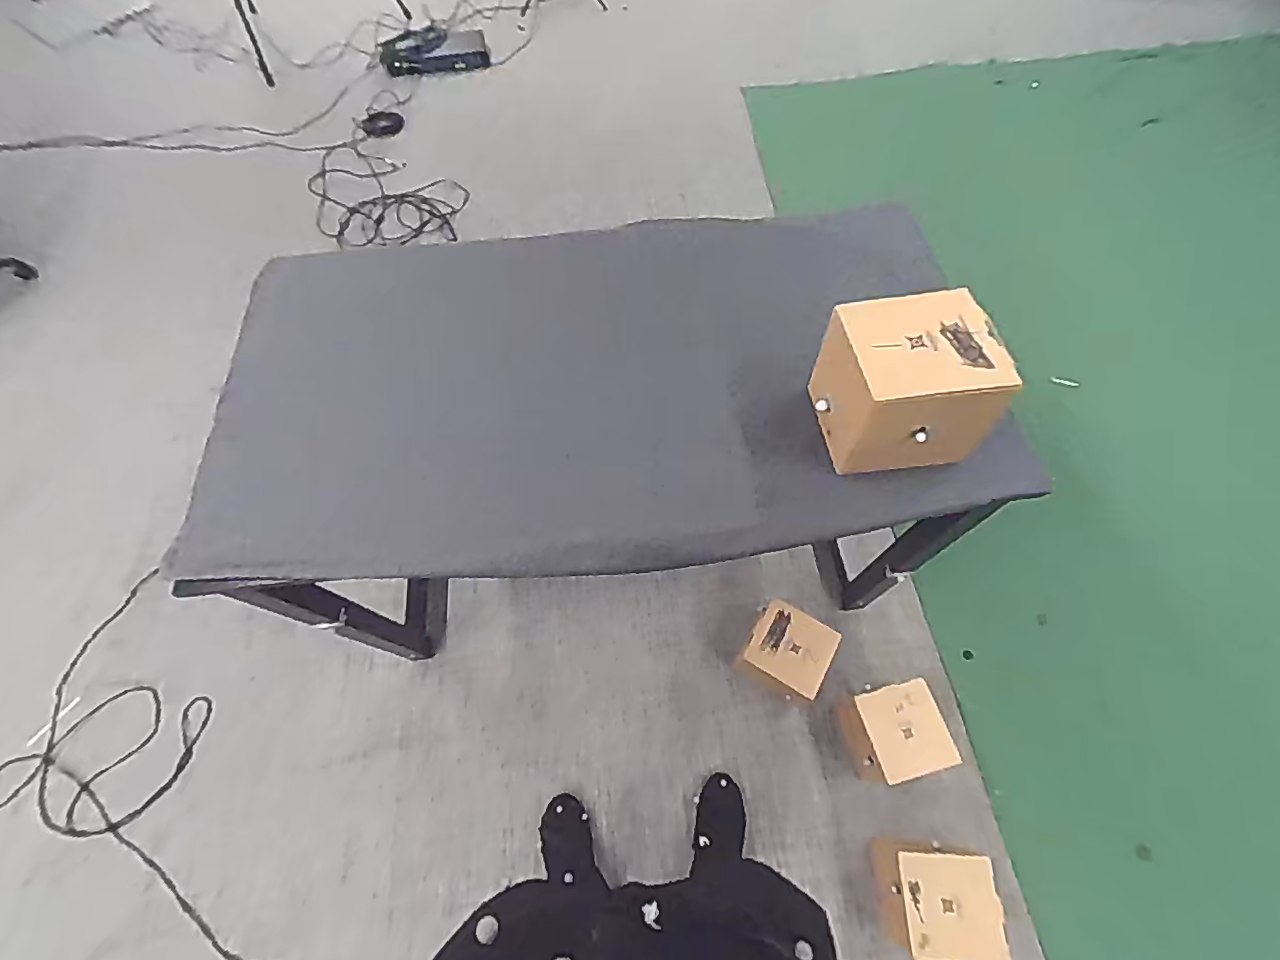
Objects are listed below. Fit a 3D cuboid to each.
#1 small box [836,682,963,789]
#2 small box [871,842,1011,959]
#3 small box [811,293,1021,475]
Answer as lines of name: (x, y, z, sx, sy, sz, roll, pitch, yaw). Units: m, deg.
small box: (0.560, 0.561, 1.194, 0.168, 0.176, 0.179, -13, 64, -4)
small box: (0.578, 0.825, 1.061, 0.179, 0.176, 0.168, 1, 64, 4)
small box: (0.349, -0.122, 0.726, 0.179, 0.176, 0.168, -6, 59, 1)
